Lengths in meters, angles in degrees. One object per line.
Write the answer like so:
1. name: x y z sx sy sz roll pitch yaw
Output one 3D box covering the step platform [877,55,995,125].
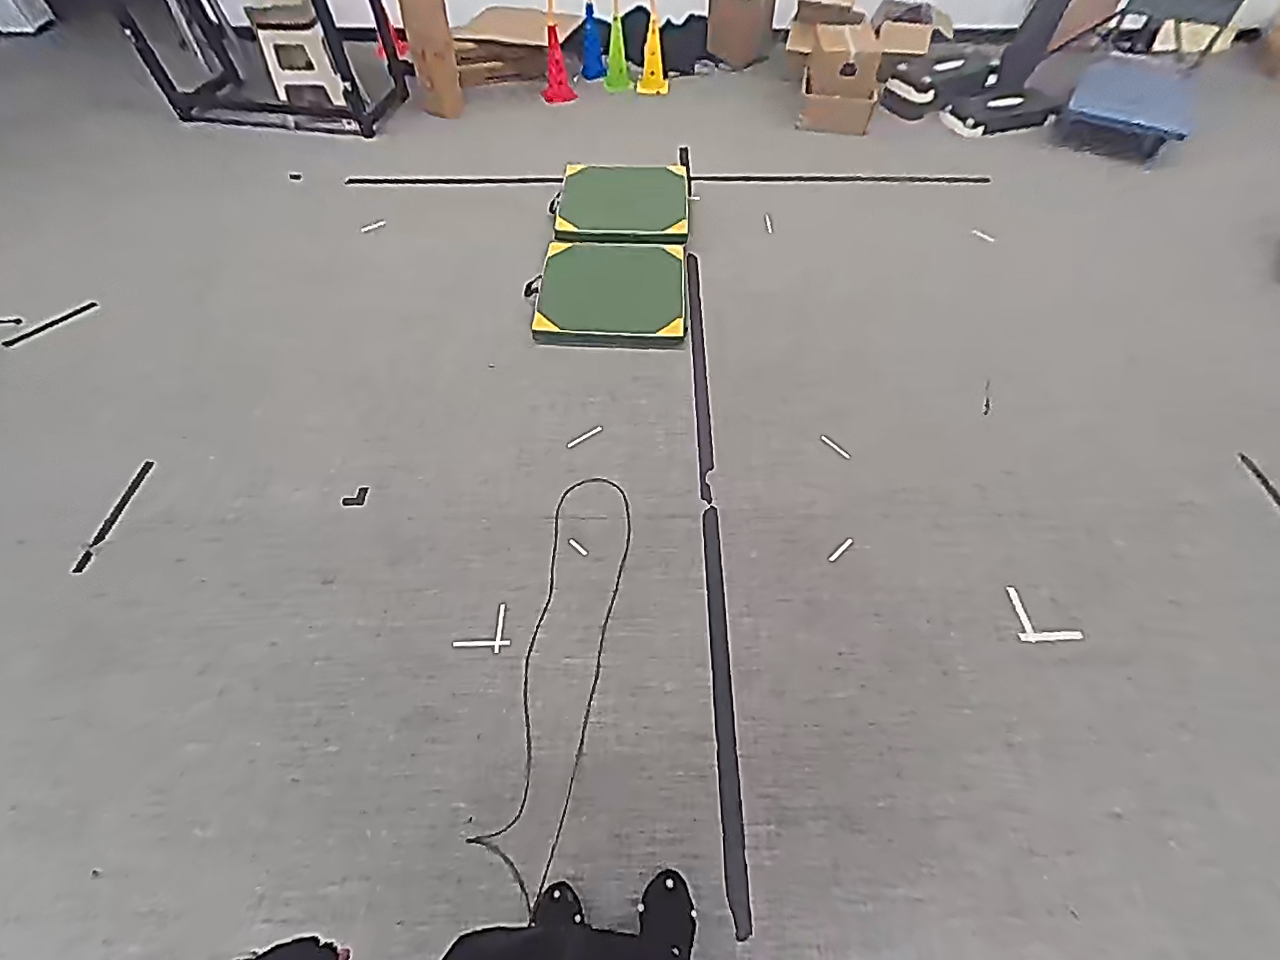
1. step platform: 1.811 -2.394 3.306 0.684 0.204 0.286 -24 60 -16
